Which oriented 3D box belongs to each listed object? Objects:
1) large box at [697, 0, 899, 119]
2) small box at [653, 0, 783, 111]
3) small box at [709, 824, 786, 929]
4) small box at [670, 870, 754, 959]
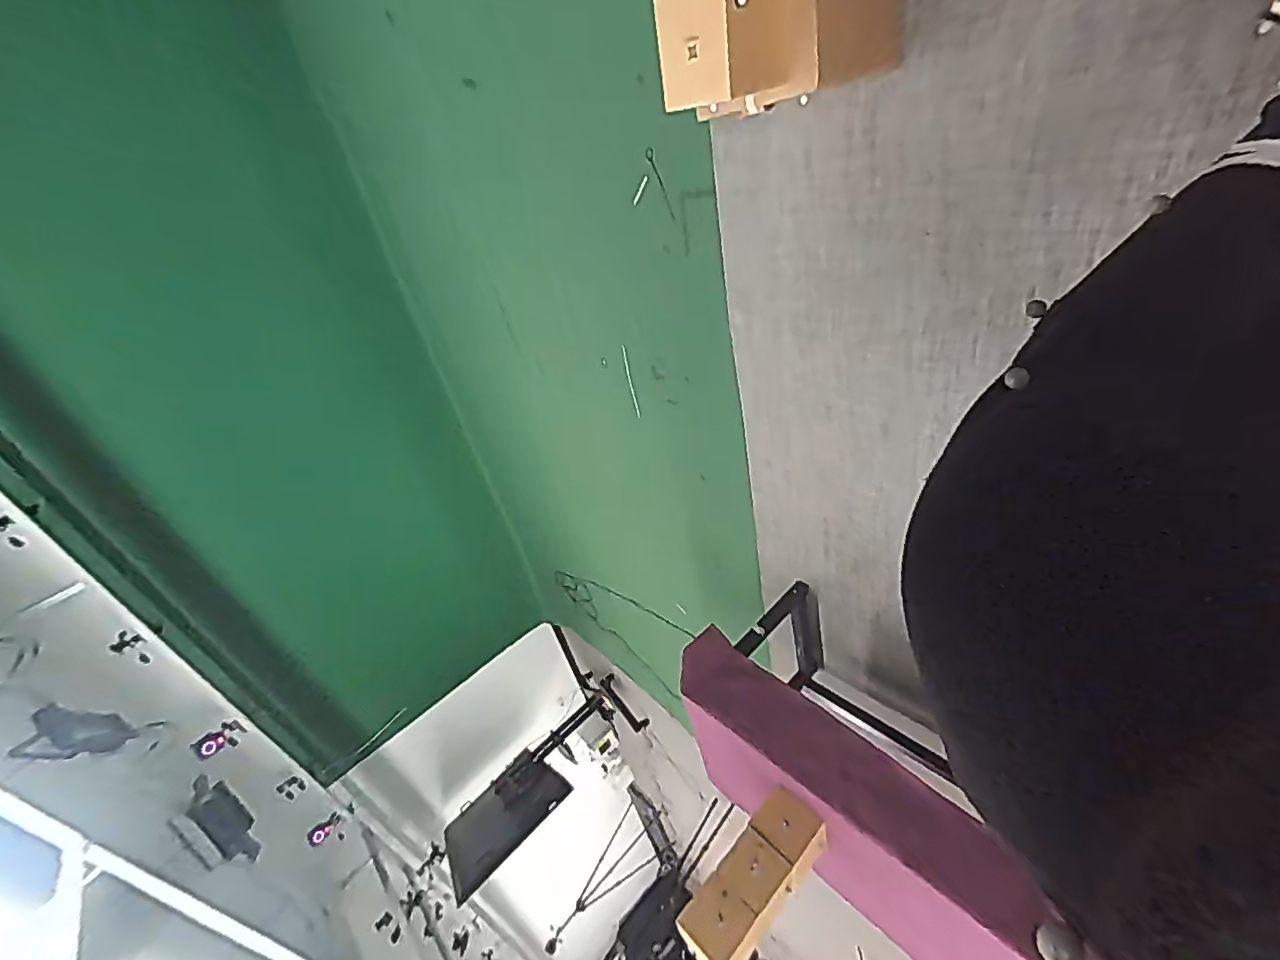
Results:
[{"bbox_3d":[0.300,-1.005,1.081,0.320,0.320,0.408,24,138,44],"label":"large box"},{"bbox_3d":[0.150,-0.807,1.000,0.168,0.176,0.179,26,139,41],"label":"small box"},{"bbox_3d":[0.328,1.195,1.638,0.168,0.176,0.179,27,141,40],"label":"small box"},{"bbox_3d":[0.211,1.279,1.557,0.168,0.176,0.179,26,141,41],"label":"small box"}]
